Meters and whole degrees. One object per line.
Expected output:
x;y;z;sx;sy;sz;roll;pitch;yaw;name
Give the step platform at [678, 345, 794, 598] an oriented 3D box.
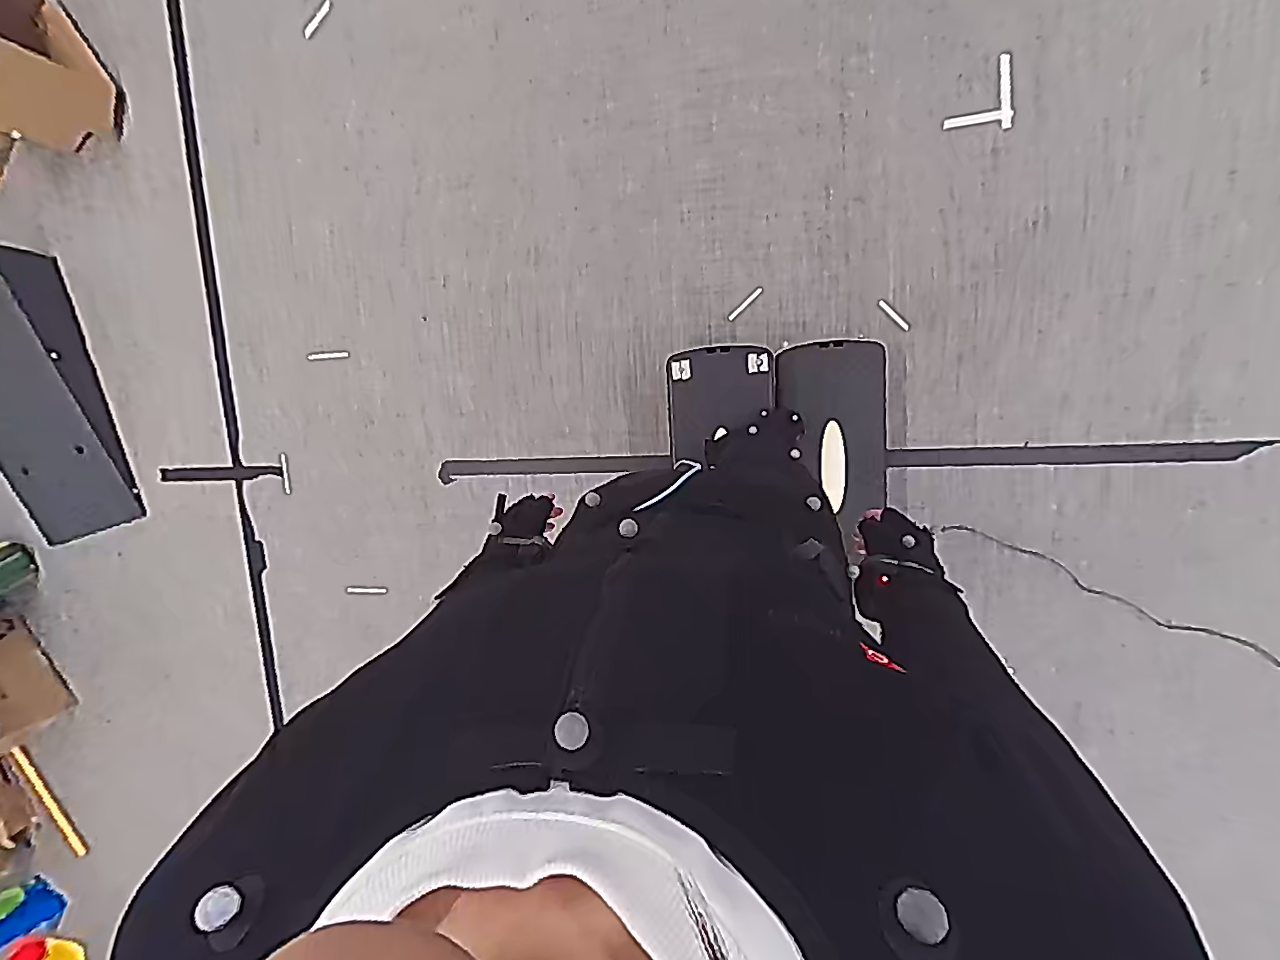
0.266;-0.022;1.494;0.286;0.204;0.684;-3;96;11;step platform
